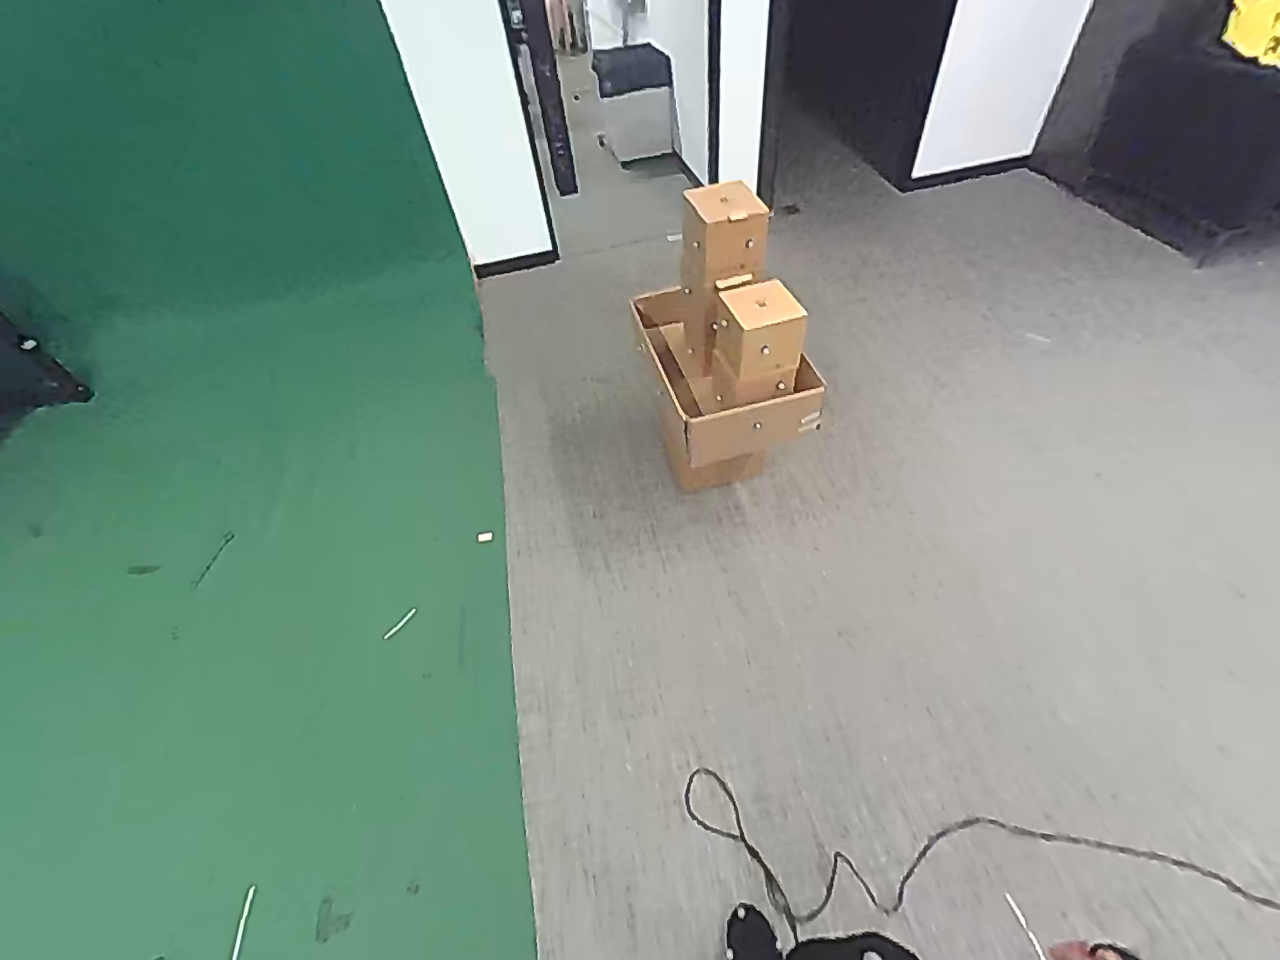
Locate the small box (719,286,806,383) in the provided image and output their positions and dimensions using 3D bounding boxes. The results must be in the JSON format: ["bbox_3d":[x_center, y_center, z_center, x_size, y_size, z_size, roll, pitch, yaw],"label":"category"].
[{"bbox_3d":[0.310,-0.369,1.401,0.168,0.176,0.179,-15,49,-6],"label":"small box"}]

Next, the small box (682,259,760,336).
[{"bbox_3d":[0.229,-0.534,1.551,0.168,0.176,0.179,-18,52,-8],"label":"small box"}]

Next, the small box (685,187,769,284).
[{"bbox_3d":[0.223,-0.635,1.423,0.168,0.176,0.179,-15,52,-7],"label":"small box"}]
